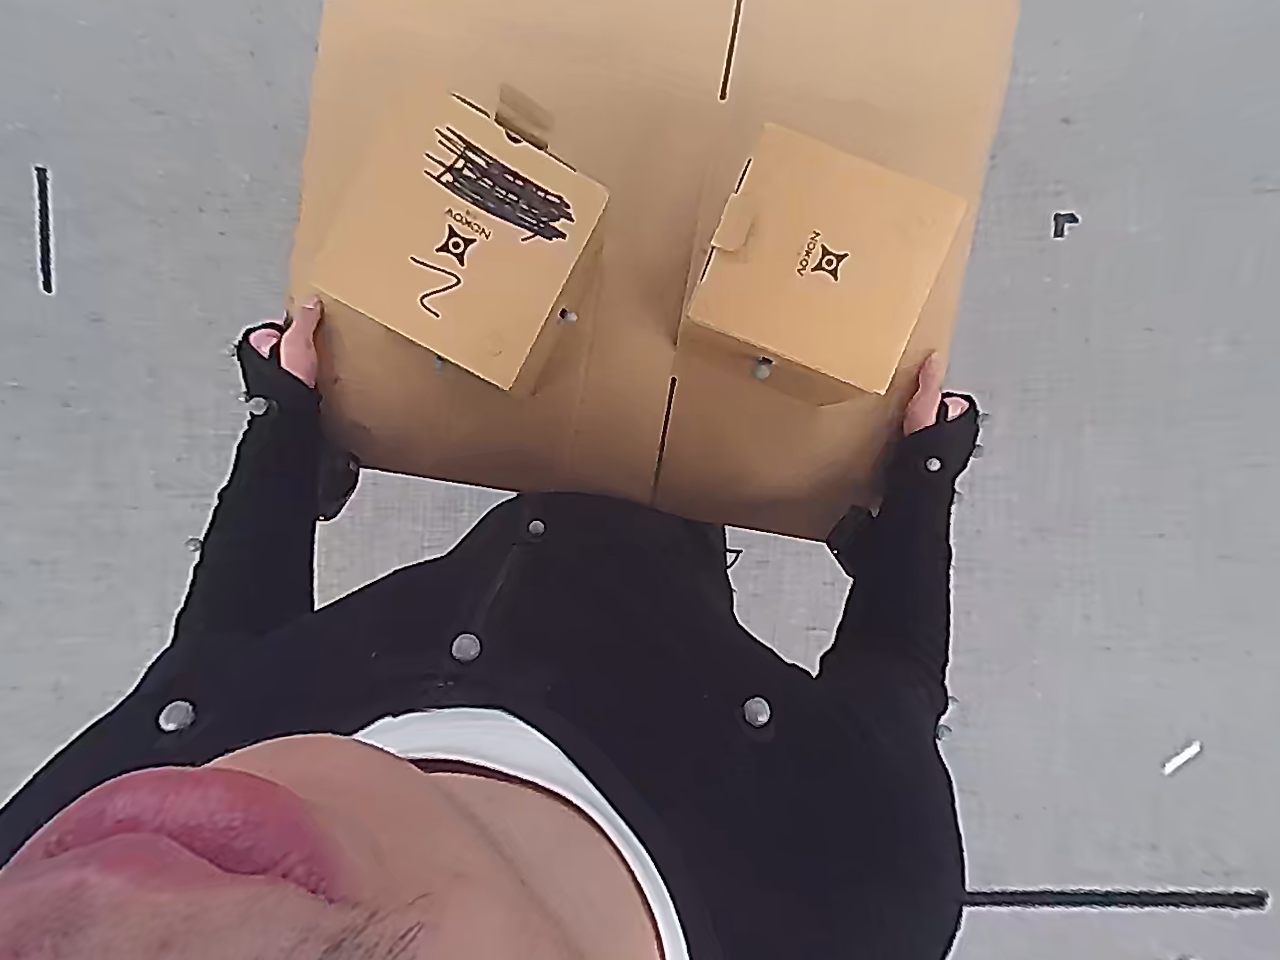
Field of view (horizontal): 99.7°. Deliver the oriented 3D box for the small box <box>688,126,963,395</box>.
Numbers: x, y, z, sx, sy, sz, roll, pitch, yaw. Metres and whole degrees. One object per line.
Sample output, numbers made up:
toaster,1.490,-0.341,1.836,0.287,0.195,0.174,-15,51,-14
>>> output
small box,0.156,-0.189,0.523,0.179,0.176,0.168,22,95,2
